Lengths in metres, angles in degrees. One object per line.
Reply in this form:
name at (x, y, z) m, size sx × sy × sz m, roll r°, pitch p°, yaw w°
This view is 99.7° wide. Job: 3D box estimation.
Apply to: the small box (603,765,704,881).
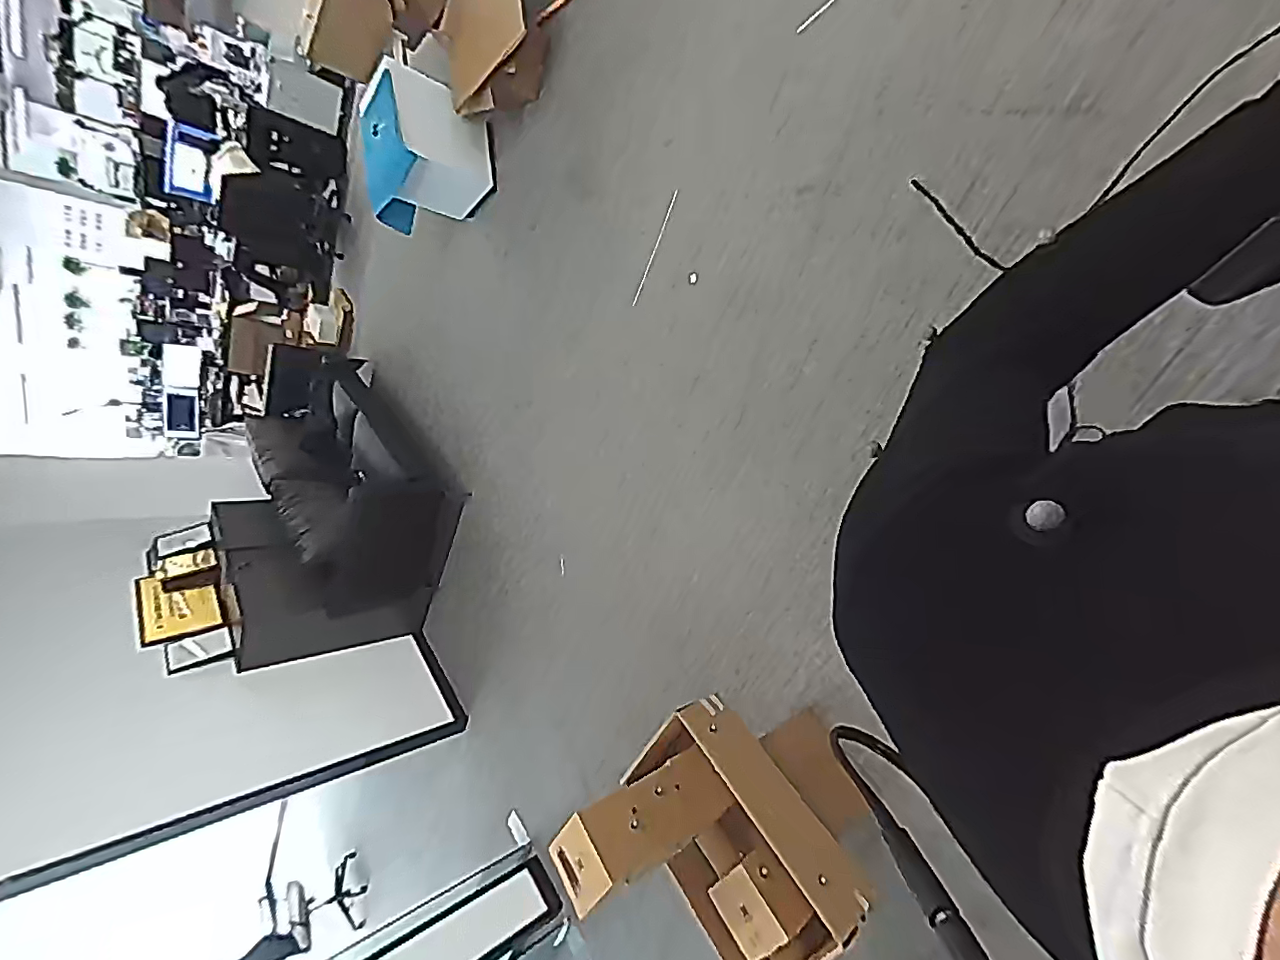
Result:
small box at (0.041, 0.884, 1.410) m, size 0.168 × 0.176 × 0.179 m, roll 49°, pitch 123°, yaw 34°
